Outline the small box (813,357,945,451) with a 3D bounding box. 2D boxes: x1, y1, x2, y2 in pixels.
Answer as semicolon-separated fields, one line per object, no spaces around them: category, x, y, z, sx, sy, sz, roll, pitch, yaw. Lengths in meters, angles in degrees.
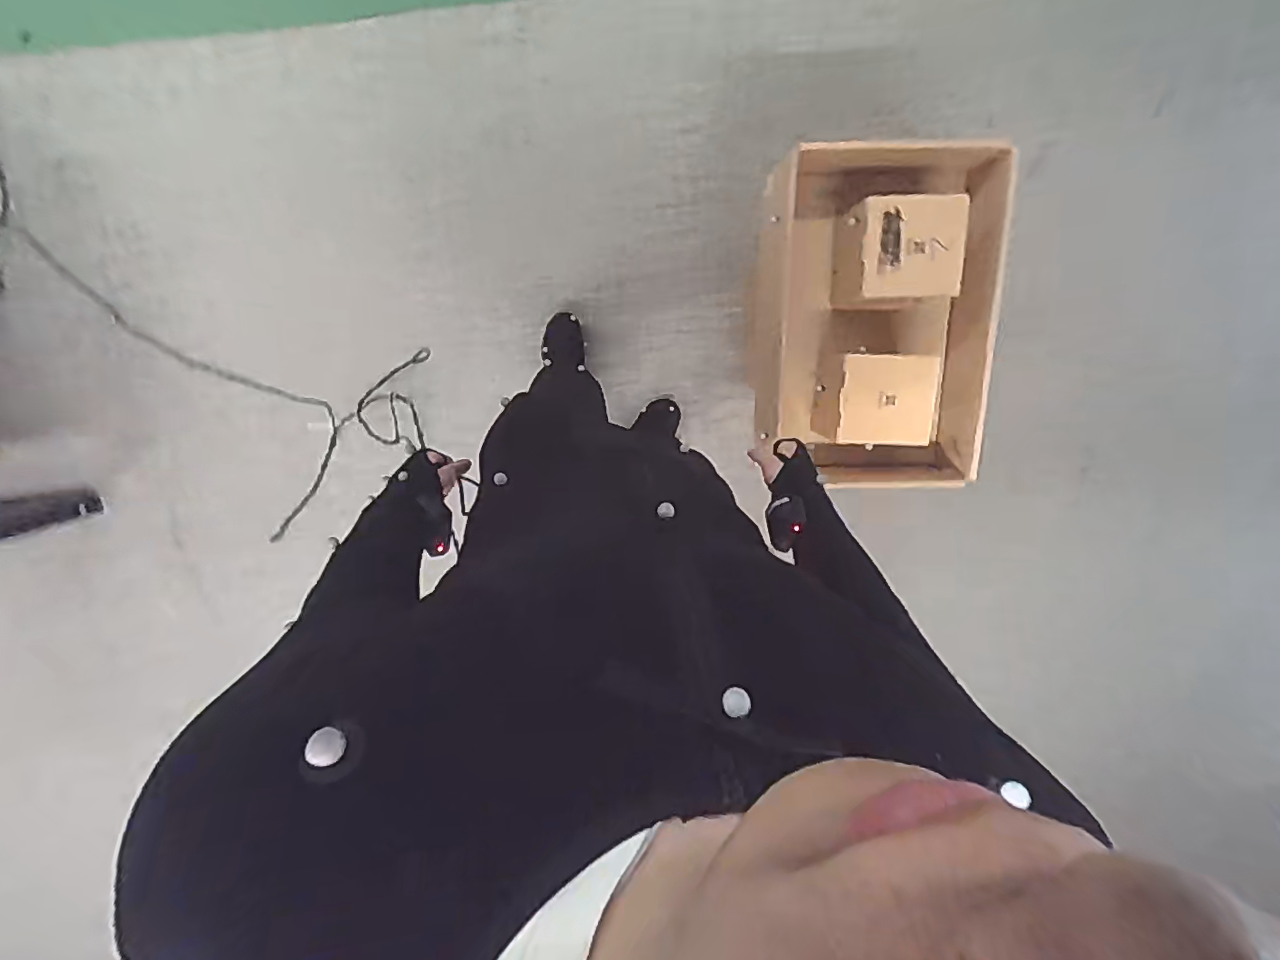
small box;0.460;-0.155;1.064;0.179;0.176;0.168;1;103;1
